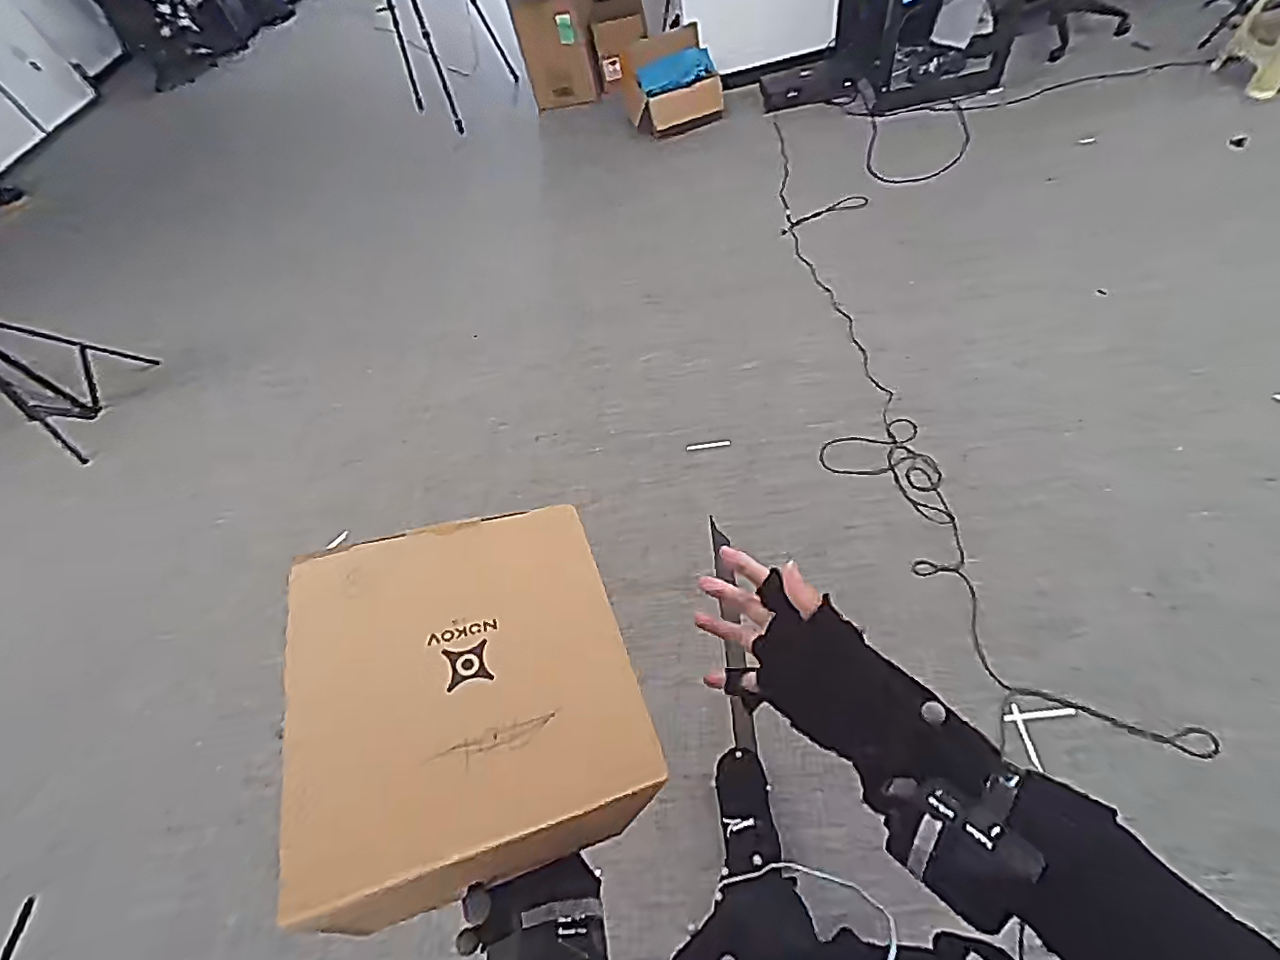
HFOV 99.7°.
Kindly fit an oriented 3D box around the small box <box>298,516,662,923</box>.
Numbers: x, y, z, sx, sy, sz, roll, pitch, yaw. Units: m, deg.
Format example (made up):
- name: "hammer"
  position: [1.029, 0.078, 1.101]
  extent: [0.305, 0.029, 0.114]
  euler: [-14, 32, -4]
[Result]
- name: "small box"
  position: [-0.105, 0.152, 0.355]
  extent: [0.168, 0.176, 0.179]
  euler: [-10, 52, -20]
